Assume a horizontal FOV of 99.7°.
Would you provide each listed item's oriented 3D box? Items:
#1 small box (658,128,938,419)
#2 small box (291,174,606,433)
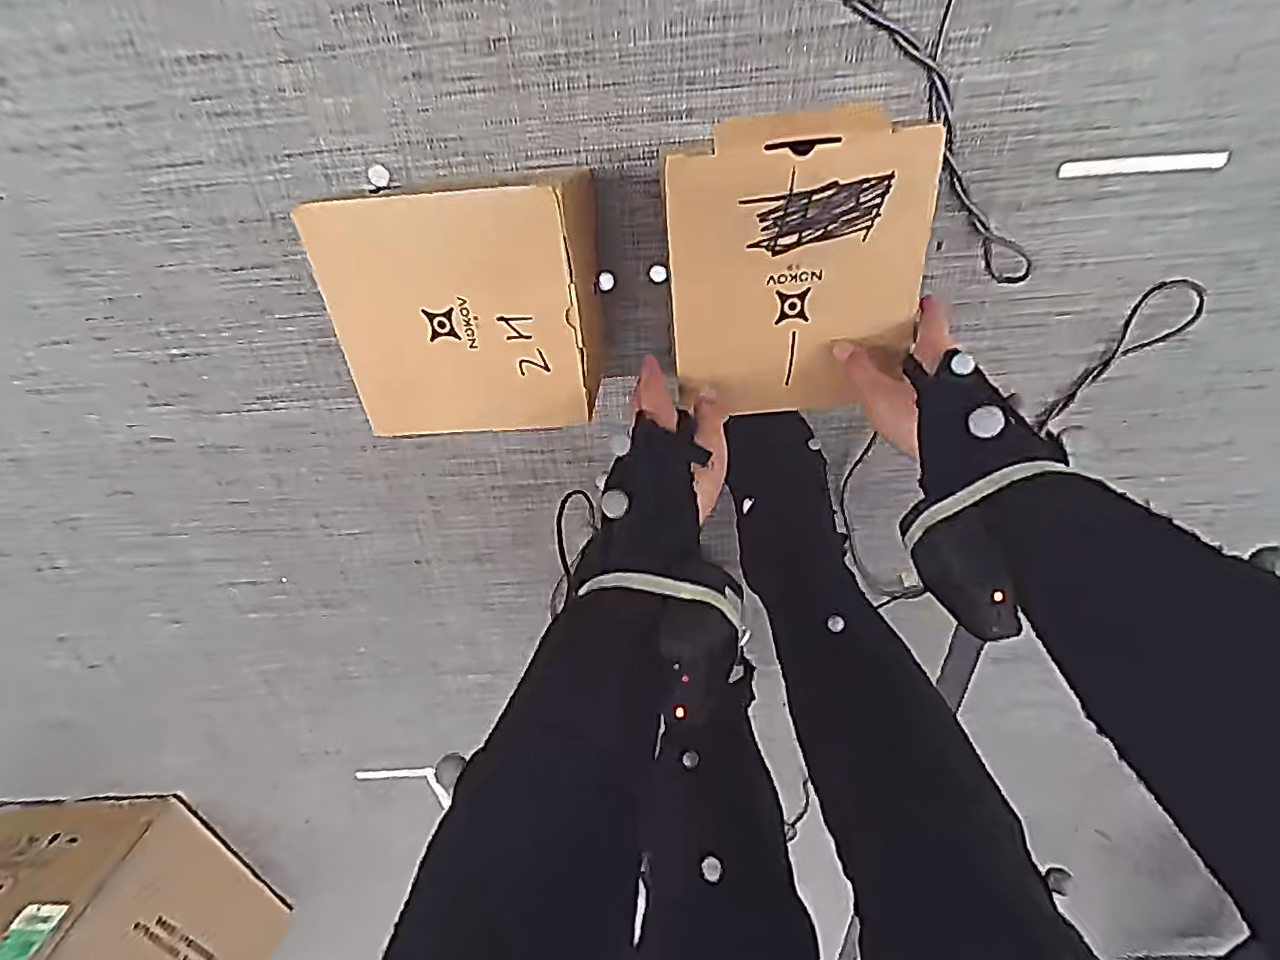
[{"bbox_3d":[0.102,-0.166,0.430,0.168,0.176,0.179,-4,123,4],"label":"small box"},{"bbox_3d":[-0.128,-0.150,0.444,0.179,0.176,0.168,-2,123,4],"label":"small box"}]
